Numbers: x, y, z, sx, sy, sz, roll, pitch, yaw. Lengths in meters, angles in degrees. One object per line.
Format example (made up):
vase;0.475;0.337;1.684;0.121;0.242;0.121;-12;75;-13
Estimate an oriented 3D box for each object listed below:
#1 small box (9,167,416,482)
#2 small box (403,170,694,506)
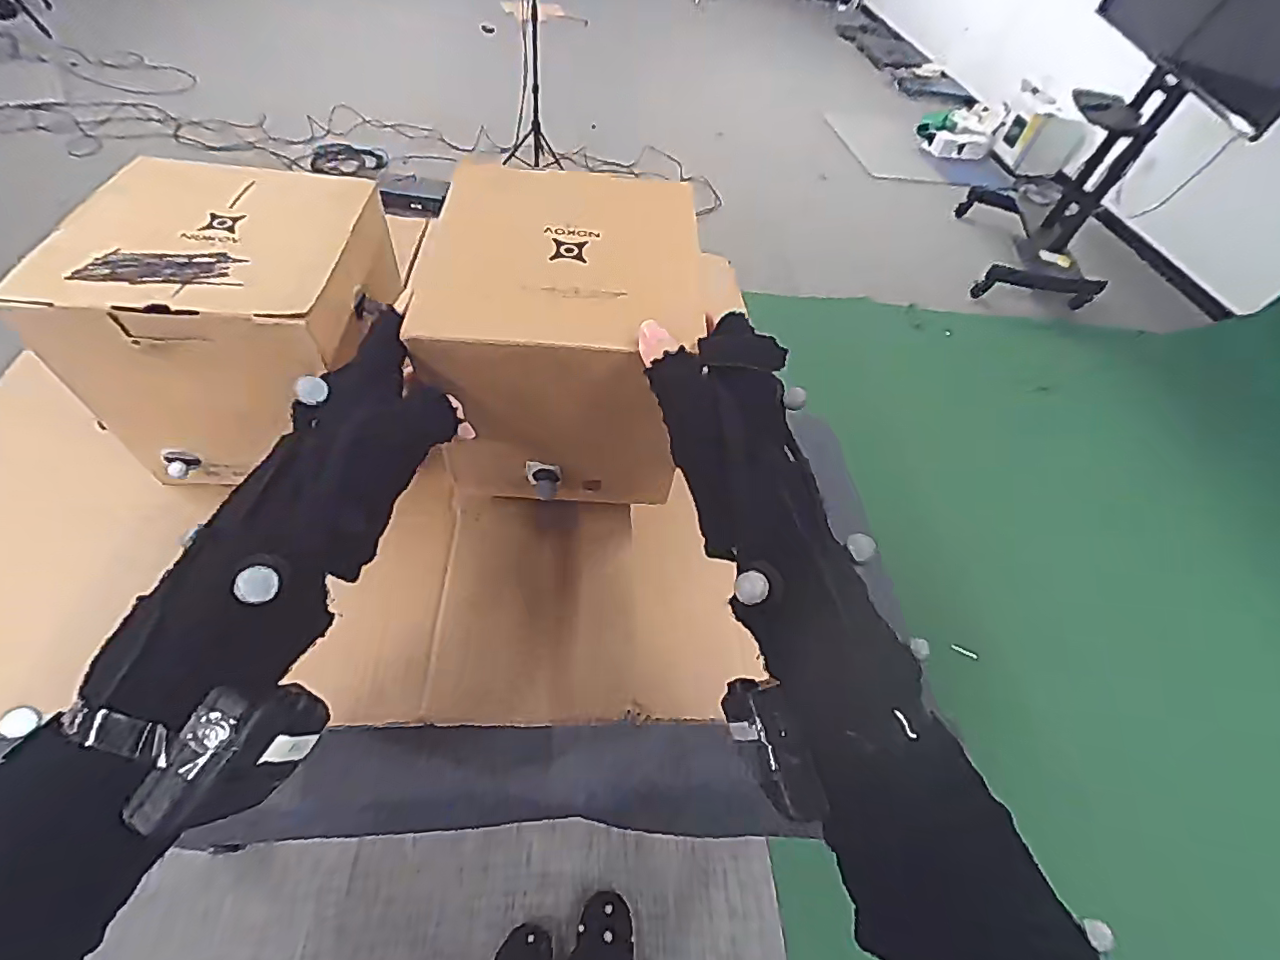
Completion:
small box;-0.289;-0.113;0.426;0.168;0.176;0.179;2;53;-8
small box;-0.056;-0.100;0.413;0.168;0.176;0.179;3;57;-4
